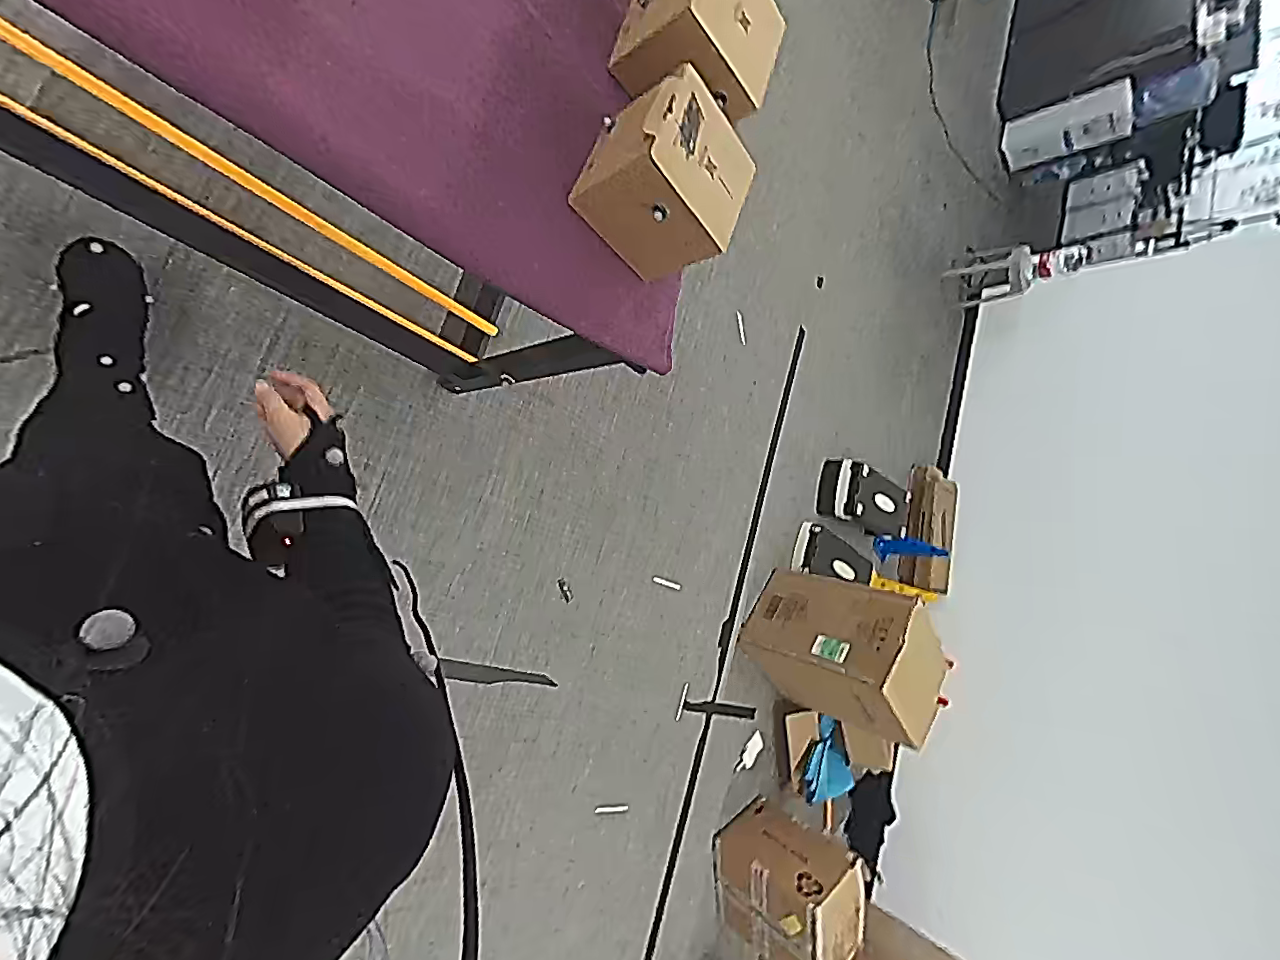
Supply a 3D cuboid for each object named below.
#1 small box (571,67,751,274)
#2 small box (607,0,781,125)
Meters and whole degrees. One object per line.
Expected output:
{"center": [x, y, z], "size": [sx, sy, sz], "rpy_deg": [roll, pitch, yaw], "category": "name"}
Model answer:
{"center": [0.029, -0.431, 0.791], "size": [0.179, 0.176, 0.168], "rpy_deg": [34, 69, -39], "category": "small box"}
{"center": [0.082, -0.659, 0.824], "size": [0.179, 0.176, 0.168], "rpy_deg": [27, 75, -41], "category": "small box"}
